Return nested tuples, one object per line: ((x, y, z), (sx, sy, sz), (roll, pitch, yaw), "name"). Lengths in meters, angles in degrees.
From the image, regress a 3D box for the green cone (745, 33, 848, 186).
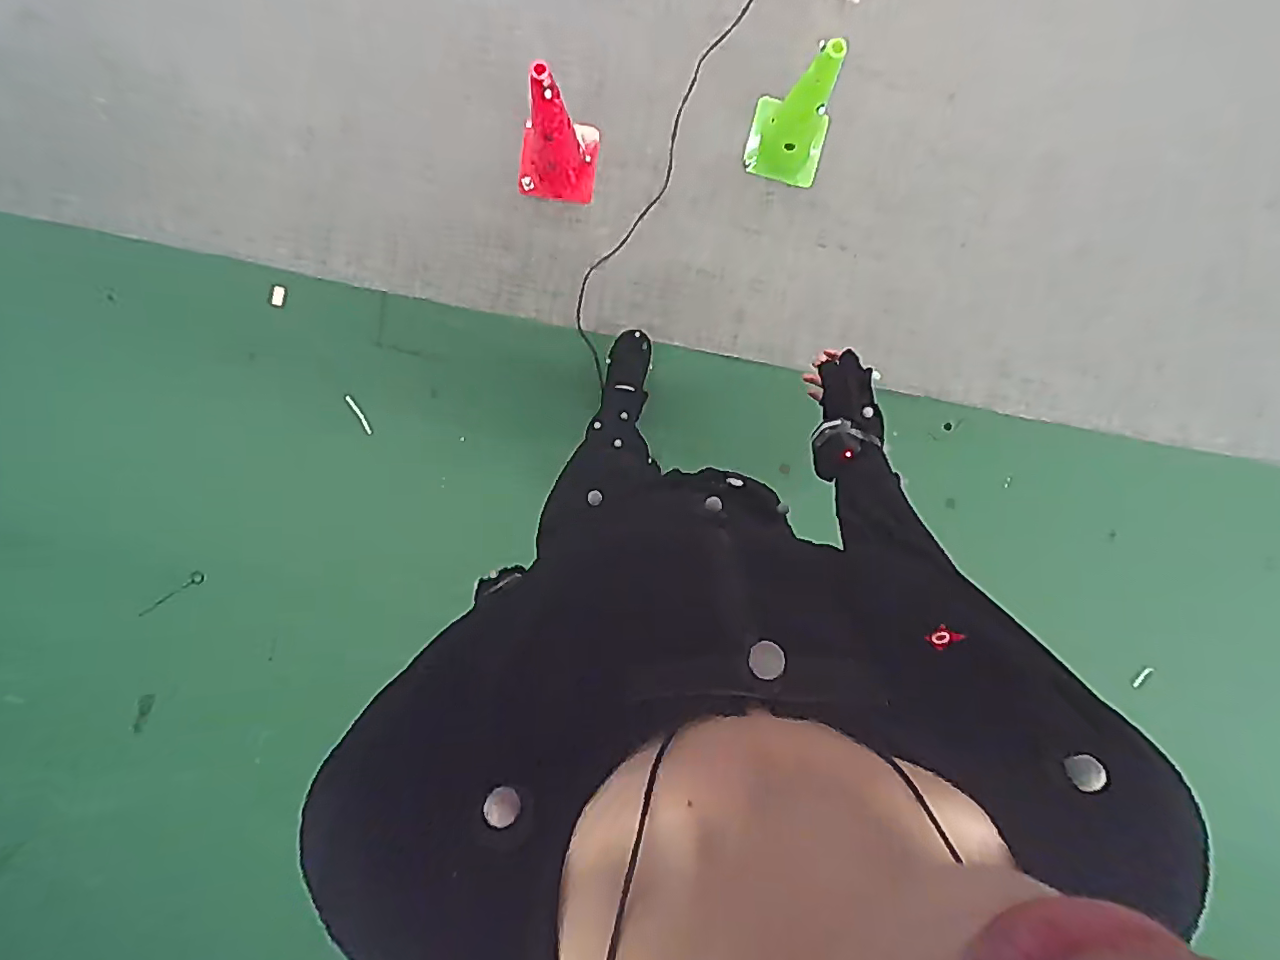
((0.402, -0.898, 1.283), (0.200, 0.368, 0.202), (13, 92, -3), "green cone")
